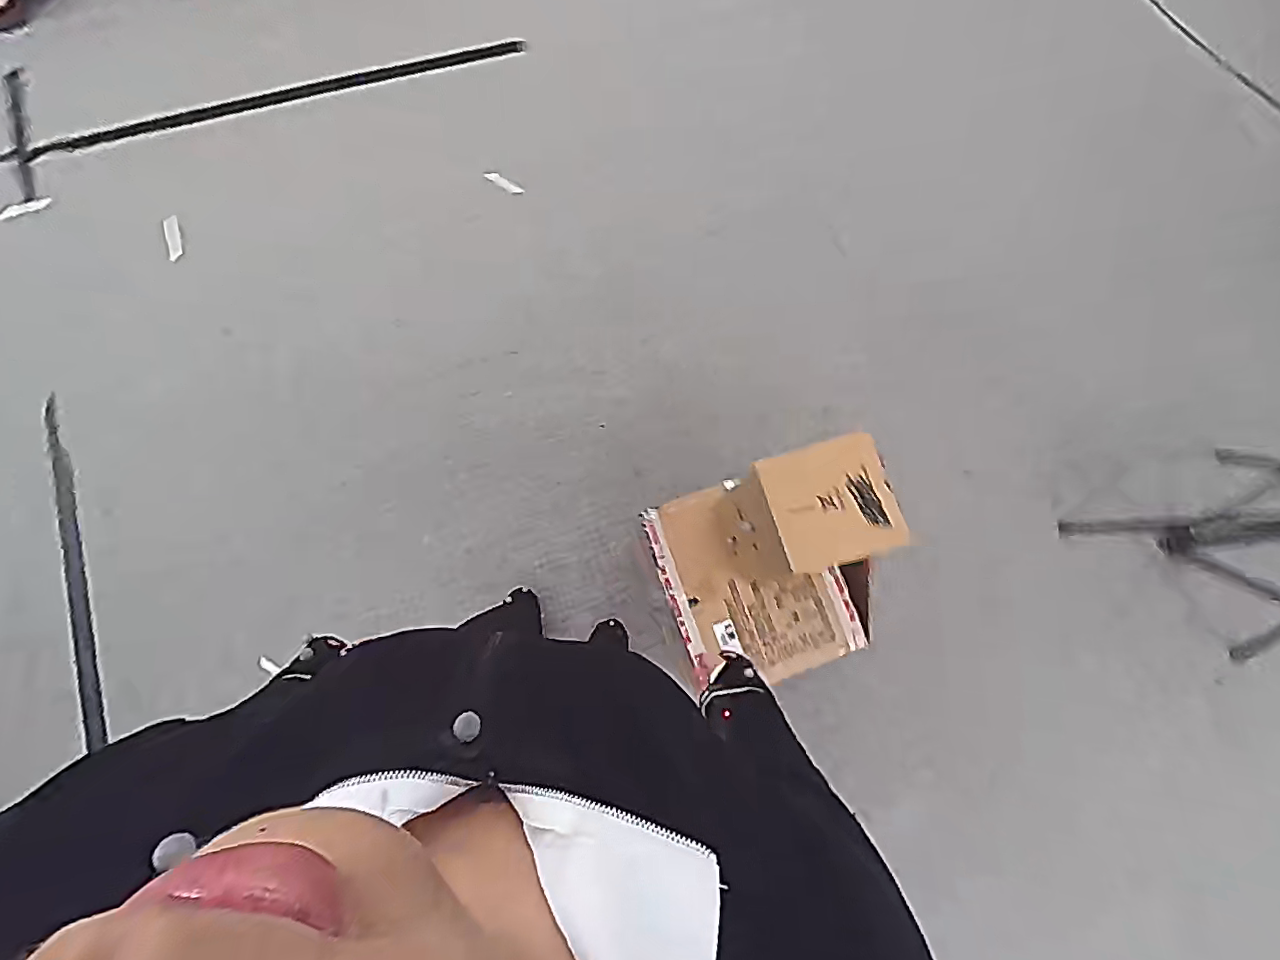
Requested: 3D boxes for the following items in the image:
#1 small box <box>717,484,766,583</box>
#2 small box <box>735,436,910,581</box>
[{"bbox_3d":[0.257,0.081,0.982,0.179,0.176,0.168,-19,77,-5],"label":"small box"},{"bbox_3d":[0.262,0.051,0.819,0.179,0.176,0.168,-15,77,-4],"label":"small box"}]
